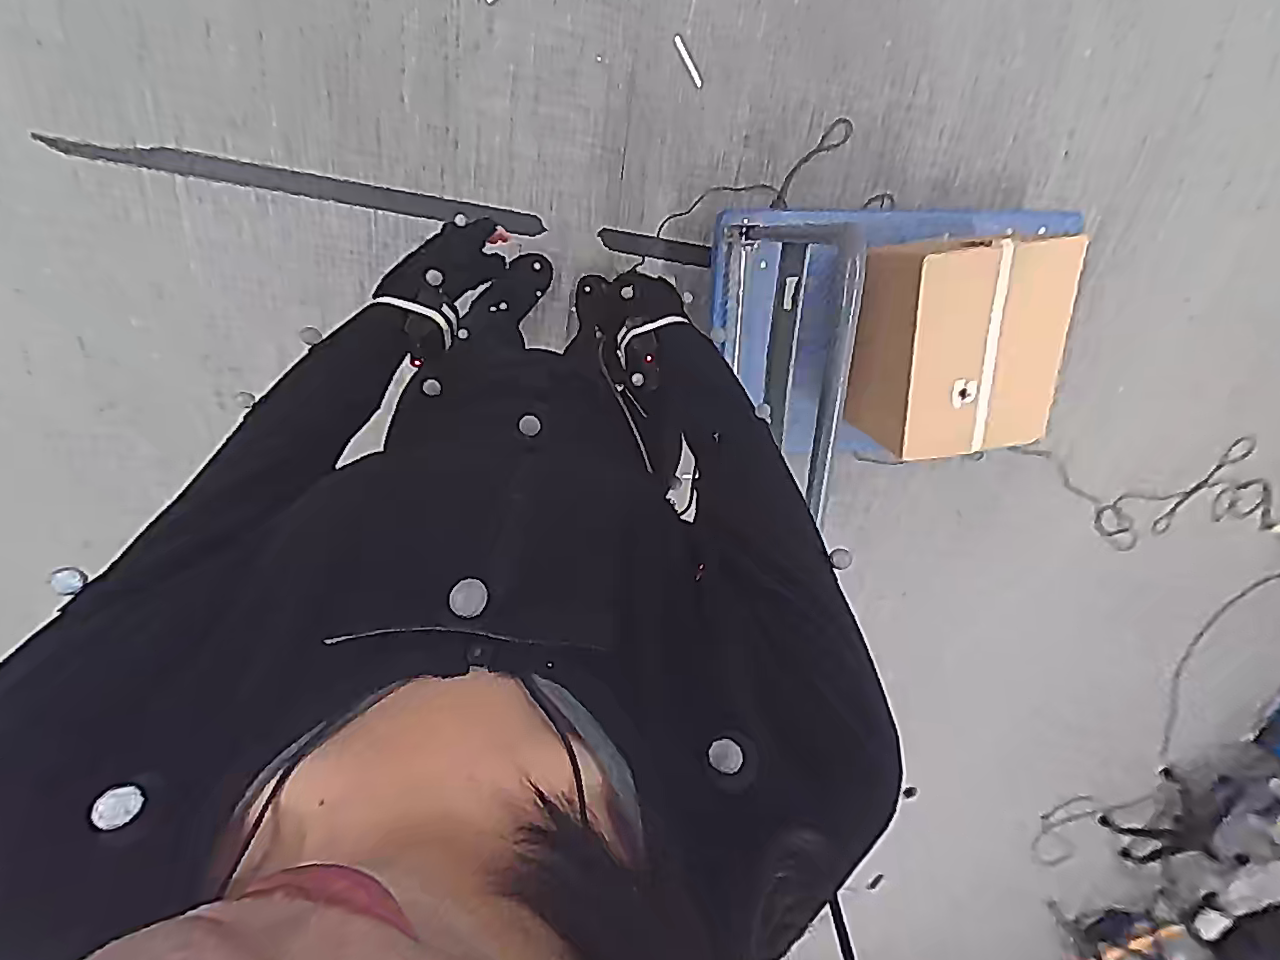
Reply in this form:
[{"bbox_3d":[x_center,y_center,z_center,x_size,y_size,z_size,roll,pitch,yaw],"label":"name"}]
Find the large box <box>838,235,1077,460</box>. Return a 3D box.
[{"bbox_3d":[0.653,-0.303,1.192,0.320,0.320,0.408,-8,115,-3],"label":"large box"}]
